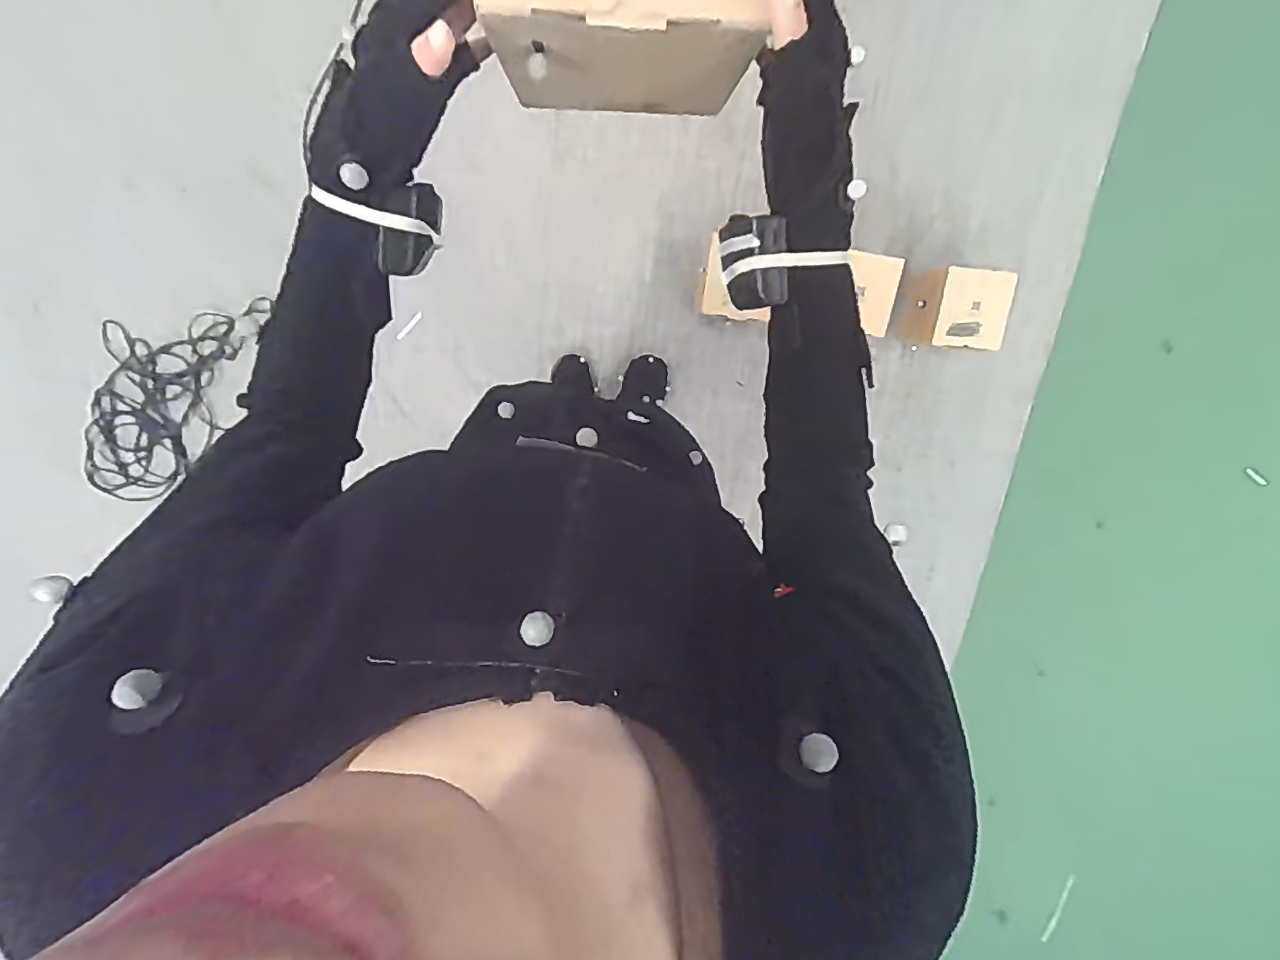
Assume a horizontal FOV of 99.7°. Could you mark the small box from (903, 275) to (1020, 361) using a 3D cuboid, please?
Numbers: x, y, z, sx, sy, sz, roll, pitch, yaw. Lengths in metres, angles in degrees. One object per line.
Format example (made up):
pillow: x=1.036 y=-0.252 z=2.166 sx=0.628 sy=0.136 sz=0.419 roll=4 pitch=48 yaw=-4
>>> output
small box: x=0.767 y=-0.388 z=1.312 sx=0.168 sy=0.176 sz=0.179 roll=5 pitch=104 yaw=-2

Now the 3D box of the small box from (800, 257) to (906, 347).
small box: x=0.500 y=-0.420 z=1.300 sx=0.168 sy=0.176 sz=0.179 roll=8 pitch=104 yaw=-3

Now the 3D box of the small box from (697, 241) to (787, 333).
small box: x=0.234 y=-0.451 z=1.284 sx=0.168 sy=0.176 sz=0.179 roll=7 pitch=104 yaw=-2
